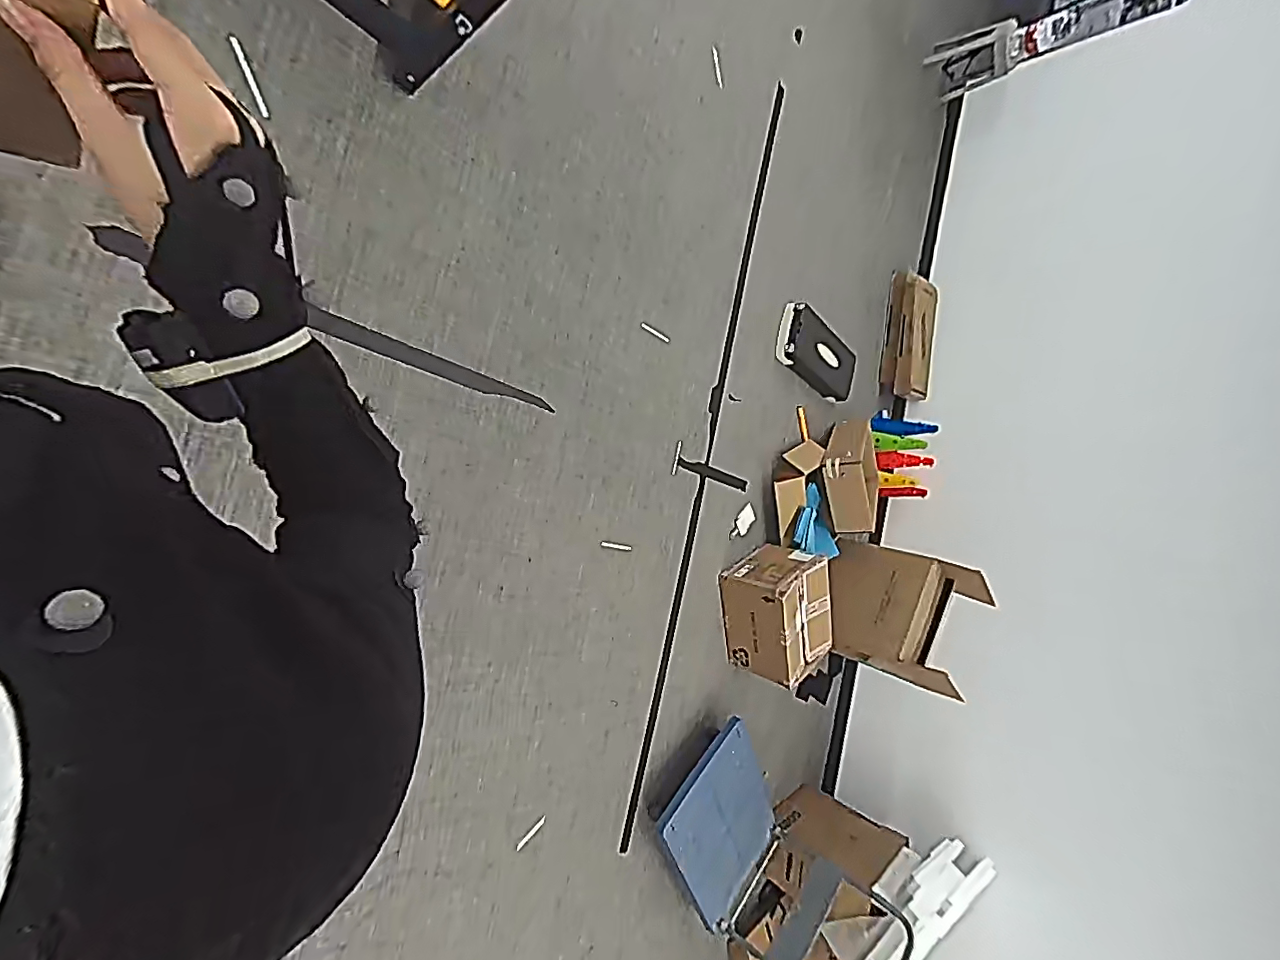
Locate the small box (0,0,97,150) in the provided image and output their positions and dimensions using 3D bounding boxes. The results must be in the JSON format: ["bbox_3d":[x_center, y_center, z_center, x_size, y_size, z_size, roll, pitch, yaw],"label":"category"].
[{"bbox_3d":[-0.353,-0.281,0.226,0.168,0.176,0.179,-8,92,-49],"label":"small box"}]
